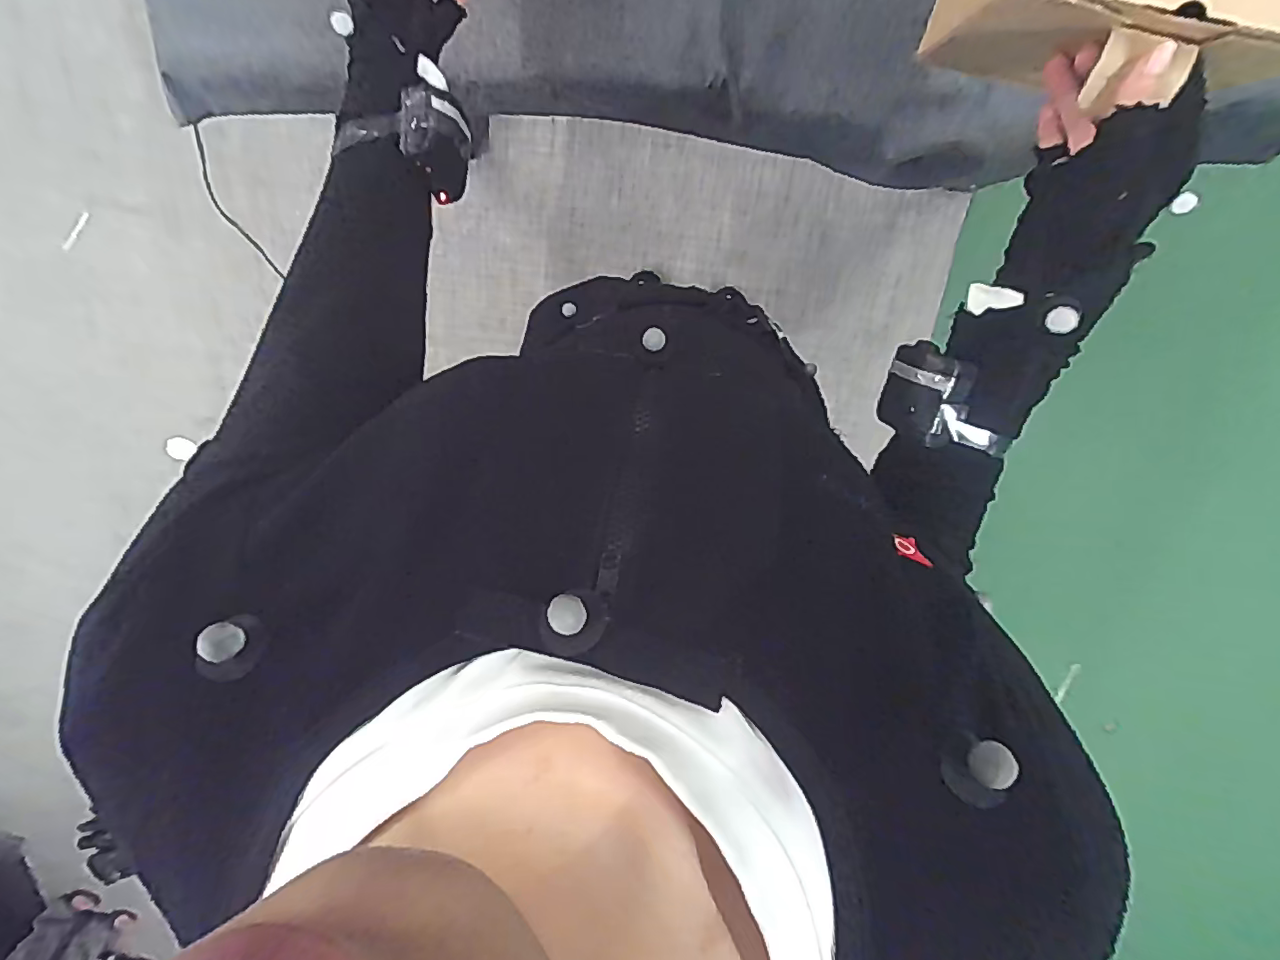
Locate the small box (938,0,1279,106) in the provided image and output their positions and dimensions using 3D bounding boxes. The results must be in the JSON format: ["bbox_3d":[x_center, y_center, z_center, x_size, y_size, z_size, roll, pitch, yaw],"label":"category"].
[{"bbox_3d":[0.291,-0.325,0.290,0.168,0.176,0.179,15,119,2],"label":"small box"}]
